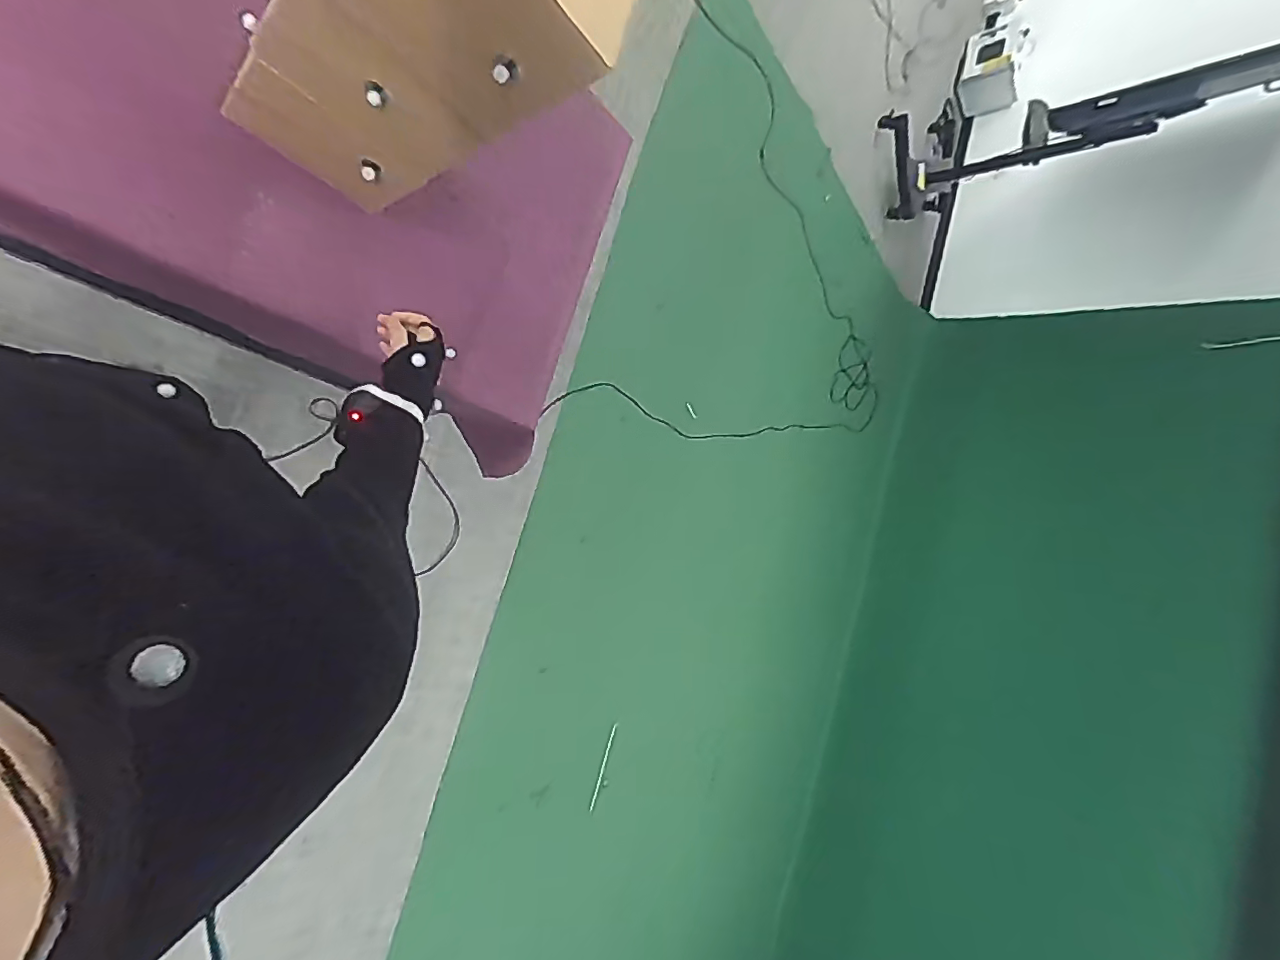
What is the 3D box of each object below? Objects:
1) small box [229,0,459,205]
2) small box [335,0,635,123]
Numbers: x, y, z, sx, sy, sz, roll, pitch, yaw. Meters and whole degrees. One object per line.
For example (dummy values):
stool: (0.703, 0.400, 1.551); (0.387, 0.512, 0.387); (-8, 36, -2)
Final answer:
small box: (-0.333, -0.450, 0.628); (0.179, 0.176, 0.168); (26, 78, -45)
small box: (-0.110, -0.401, 0.391); (0.179, 0.176, 0.168); (26, 78, -45)
